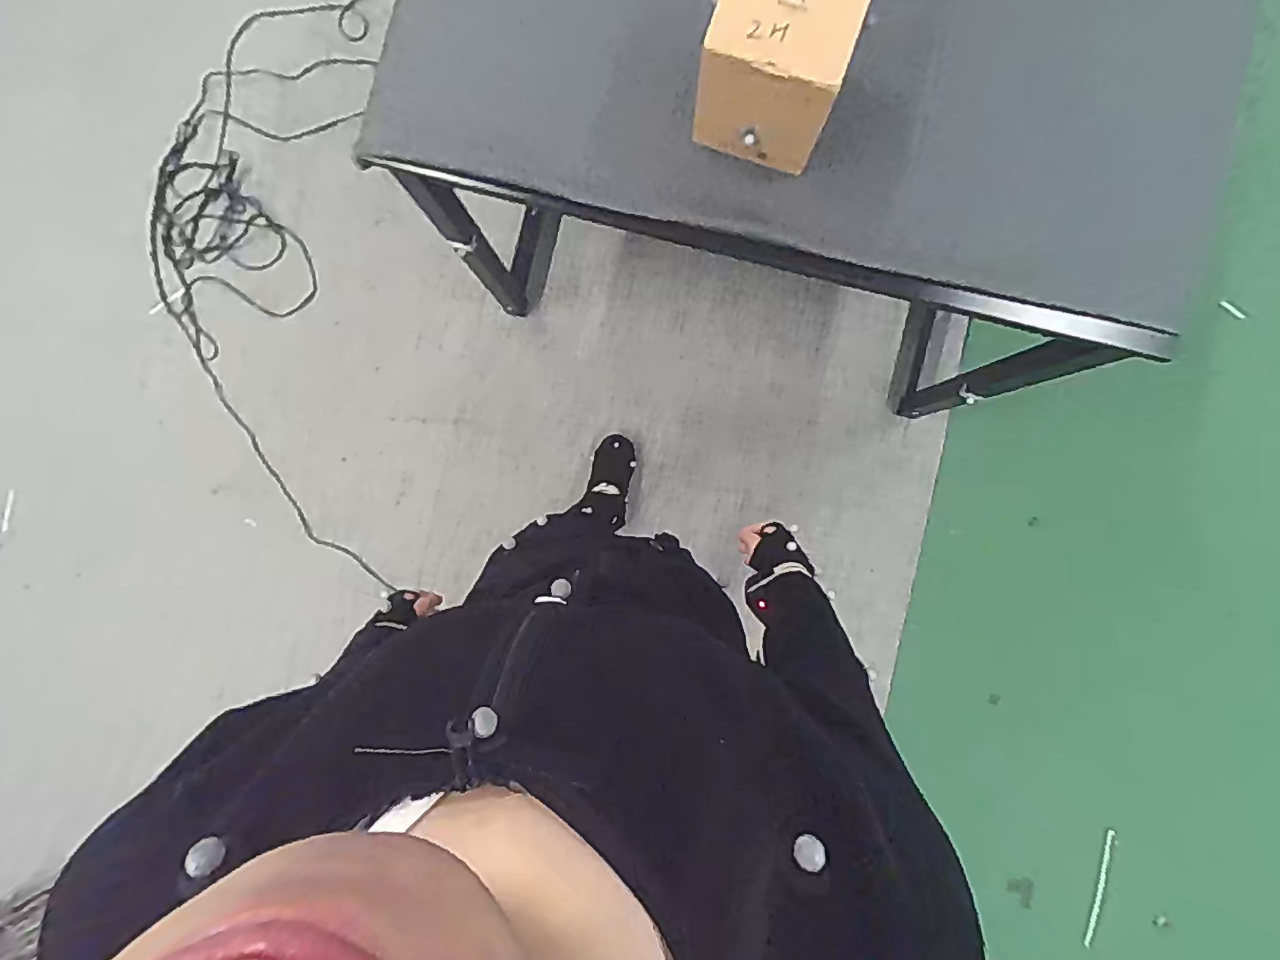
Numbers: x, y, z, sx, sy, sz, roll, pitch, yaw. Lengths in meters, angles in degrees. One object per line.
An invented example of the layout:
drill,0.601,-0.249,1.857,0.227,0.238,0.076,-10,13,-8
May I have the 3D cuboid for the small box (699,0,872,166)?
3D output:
small box,0.179,-0.548,0.683,0.168,0.176,0.179,19,88,2
